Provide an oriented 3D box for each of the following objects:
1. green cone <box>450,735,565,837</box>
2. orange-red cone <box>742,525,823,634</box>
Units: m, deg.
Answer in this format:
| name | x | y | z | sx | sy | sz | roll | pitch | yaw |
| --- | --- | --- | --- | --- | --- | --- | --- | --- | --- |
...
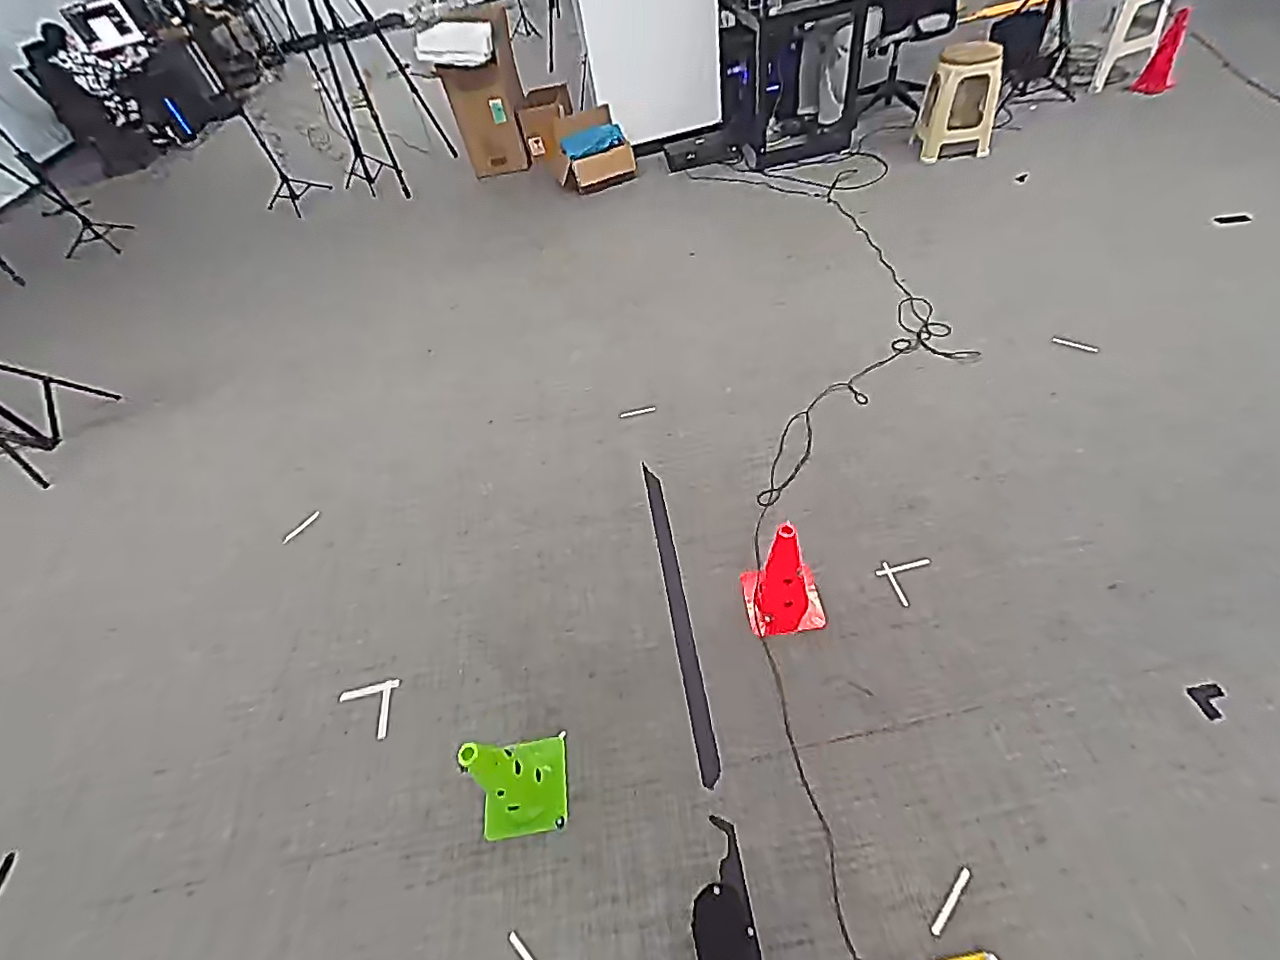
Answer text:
| name | x | y | z | sx | sy | sz | roll | pitch | yaw |
| --- | --- | --- | --- | --- | --- | --- | --- | --- | --- |
| green cone | -0.312 | 0.628 | 1.182 | 0.202 | 0.368 | 0.200 | -13 | 49 | 3 |
| orange-red cone | 0.368 | 0.225 | 1.378 | 0.199 | 0.360 | 0.198 | -8 | 51 | 4 |
